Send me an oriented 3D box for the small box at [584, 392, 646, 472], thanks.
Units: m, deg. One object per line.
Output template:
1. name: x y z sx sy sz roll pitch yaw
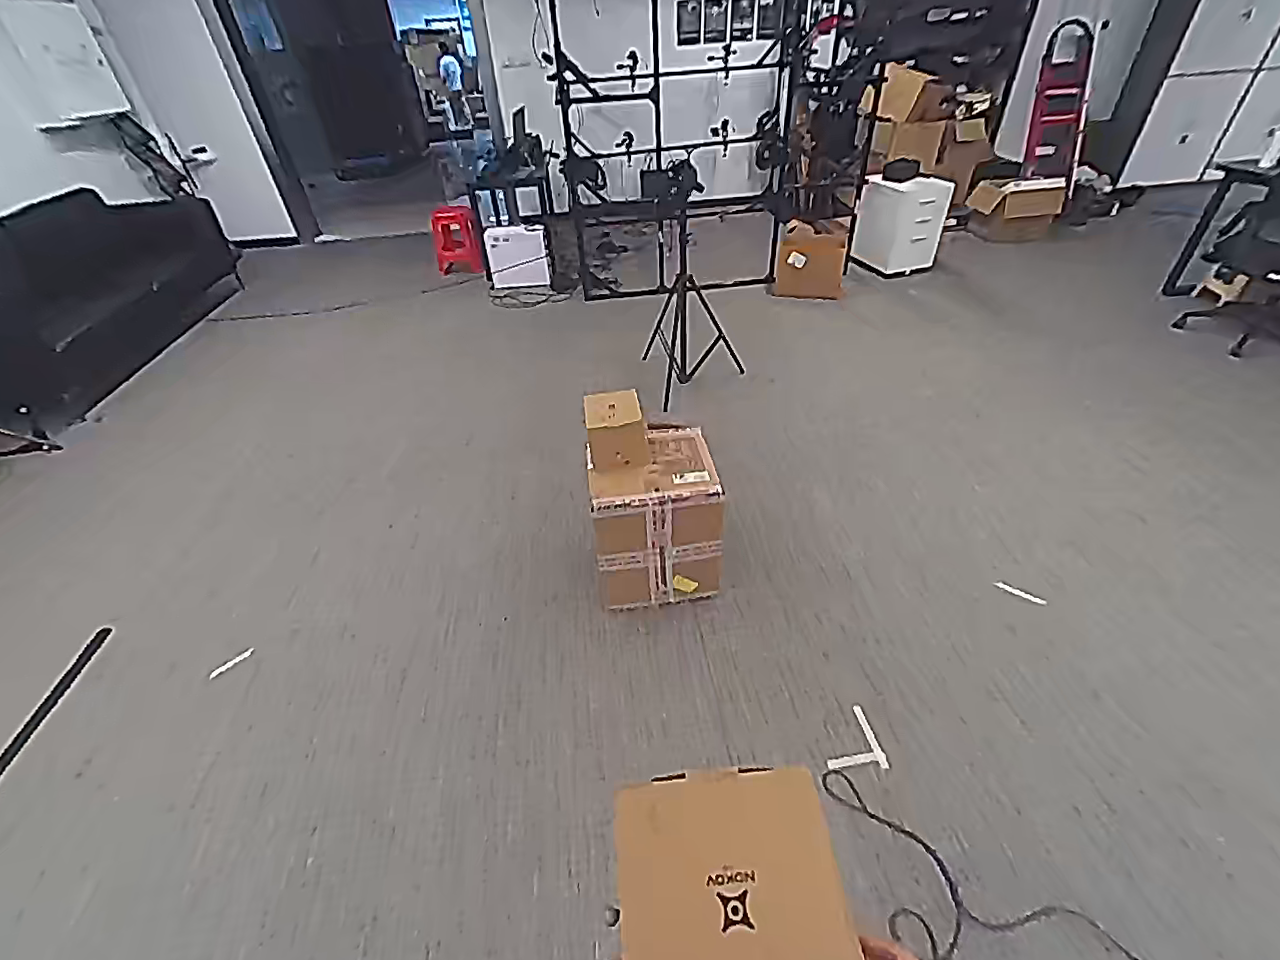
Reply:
1. small box: -0.077 -0.148 1.663 0.168 0.176 0.179 -9 42 -3
